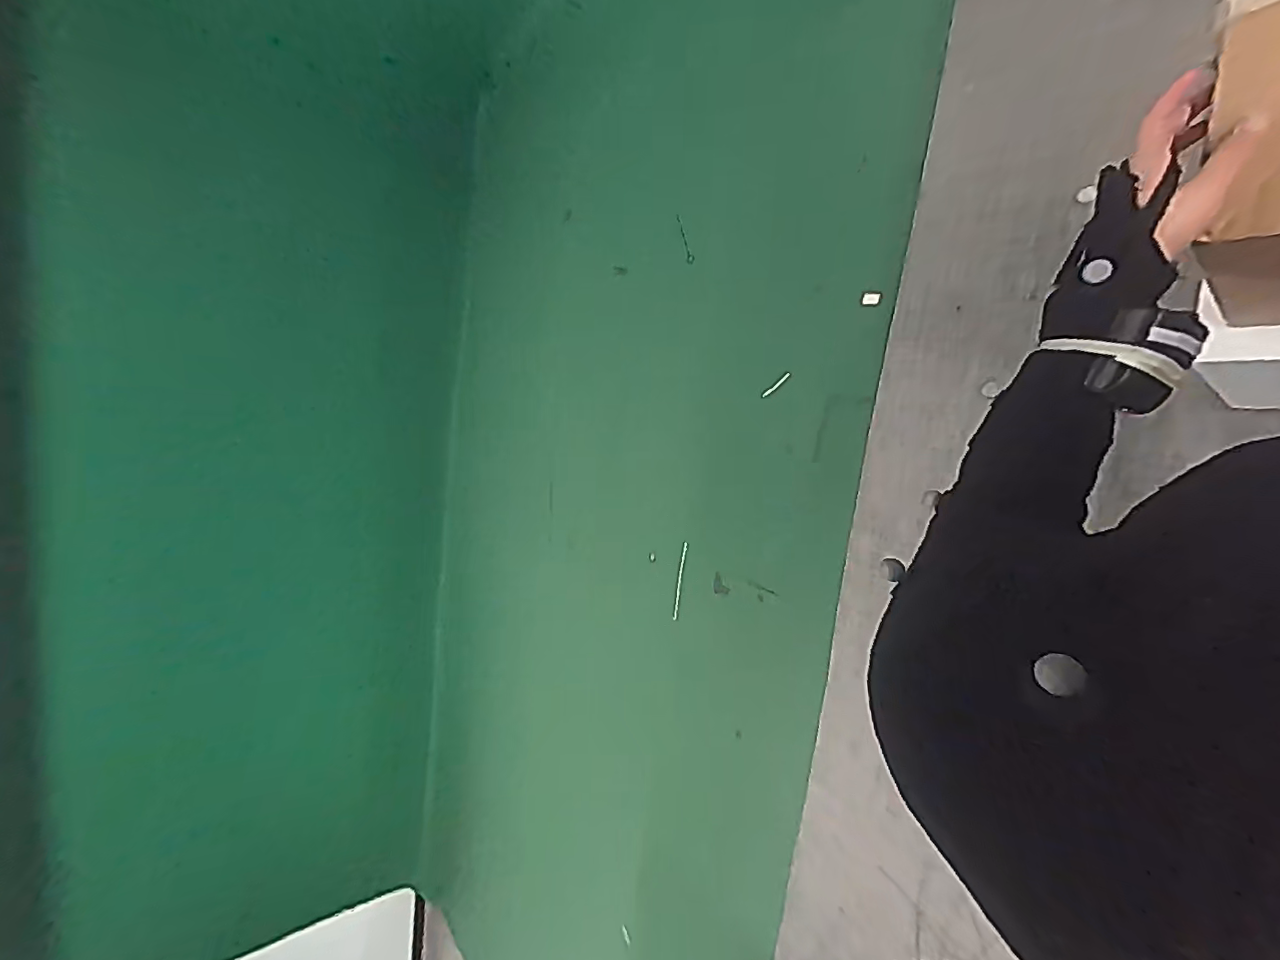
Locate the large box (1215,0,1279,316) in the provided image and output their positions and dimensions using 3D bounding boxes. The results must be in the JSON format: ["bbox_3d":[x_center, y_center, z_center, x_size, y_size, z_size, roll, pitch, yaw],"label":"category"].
[{"bbox_3d":[0.646,-0.301,0.310,0.408,0.320,0.320,10,98,49],"label":"large box"}]
